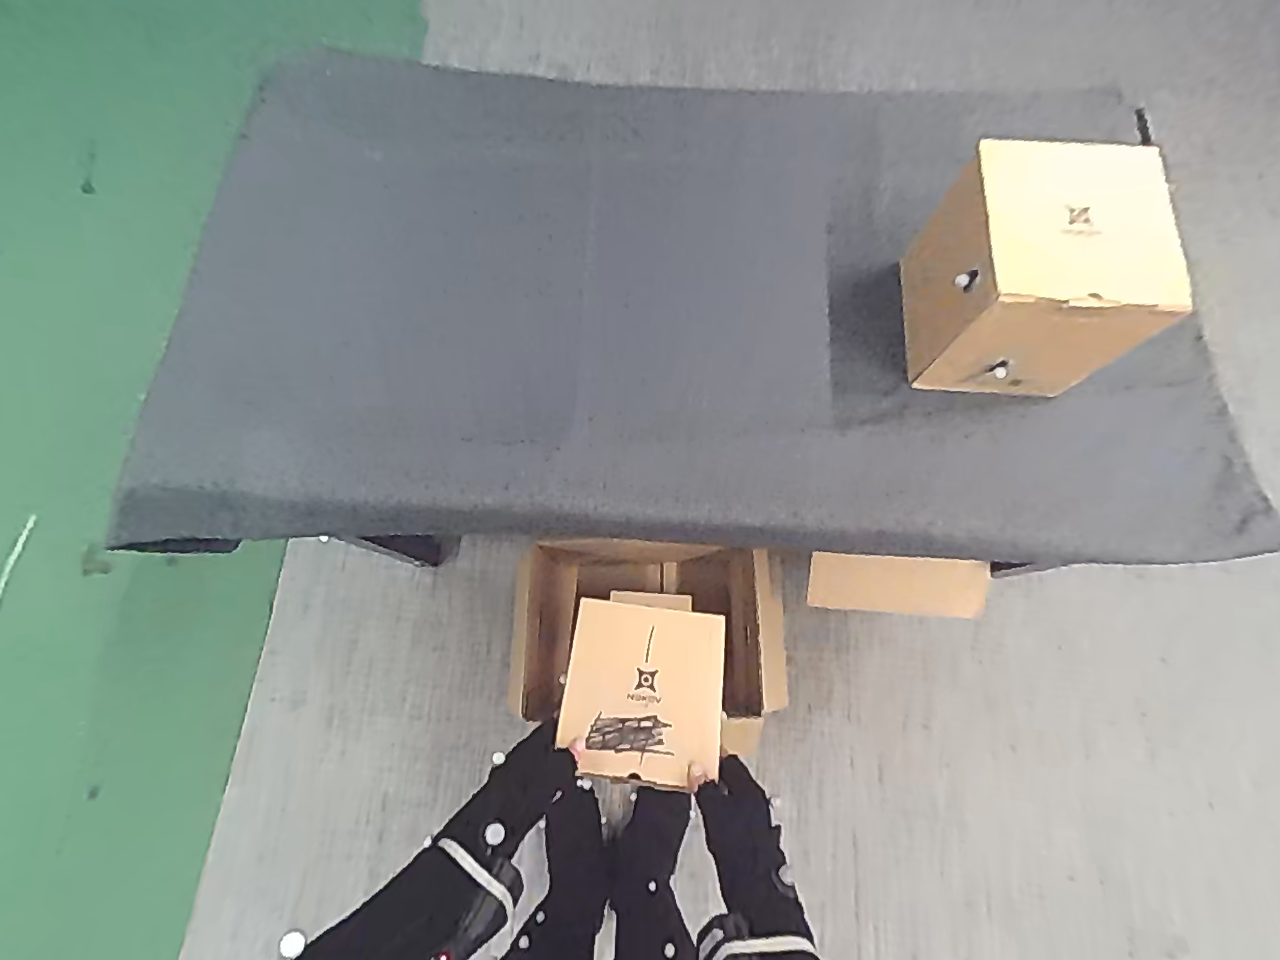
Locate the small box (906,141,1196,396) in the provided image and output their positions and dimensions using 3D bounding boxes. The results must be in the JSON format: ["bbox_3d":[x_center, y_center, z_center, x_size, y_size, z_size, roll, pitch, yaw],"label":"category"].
[{"bbox_3d":[0.393,-0.207,0.557,0.168,0.176,0.179,4,74,2],"label":"small box"}]
